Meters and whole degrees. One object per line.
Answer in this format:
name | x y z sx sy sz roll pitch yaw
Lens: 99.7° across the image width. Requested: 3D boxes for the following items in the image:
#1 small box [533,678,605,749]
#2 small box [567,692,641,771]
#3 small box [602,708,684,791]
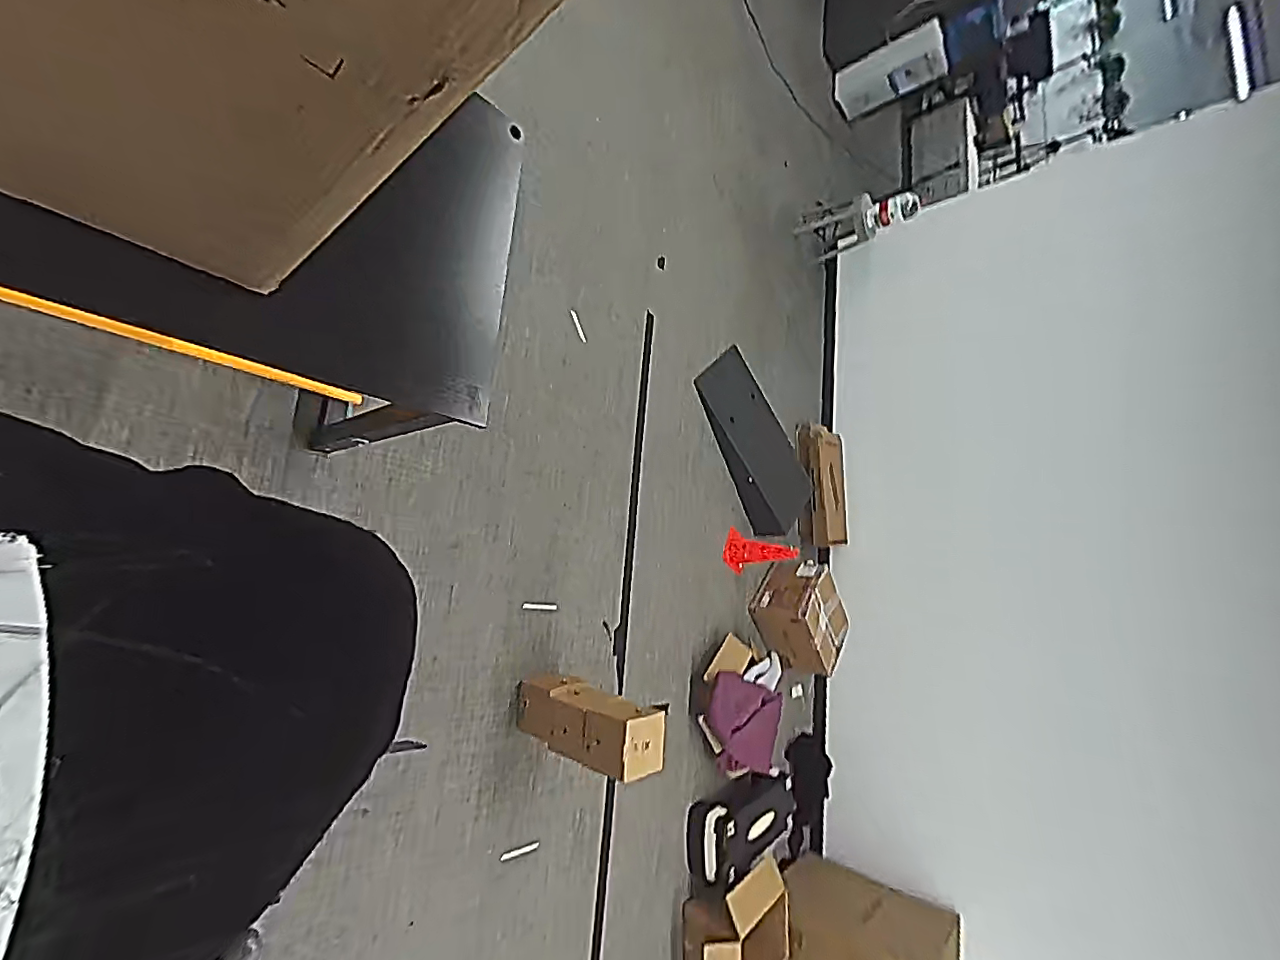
small box | -0.239 0.778 1.821 0.179 0.176 0.168 7 82 -48
small box | -0.116 0.788 1.711 0.179 0.176 0.168 6 83 -49
small box | 0.011 0.788 1.605 0.179 0.176 0.168 13 77 -48
